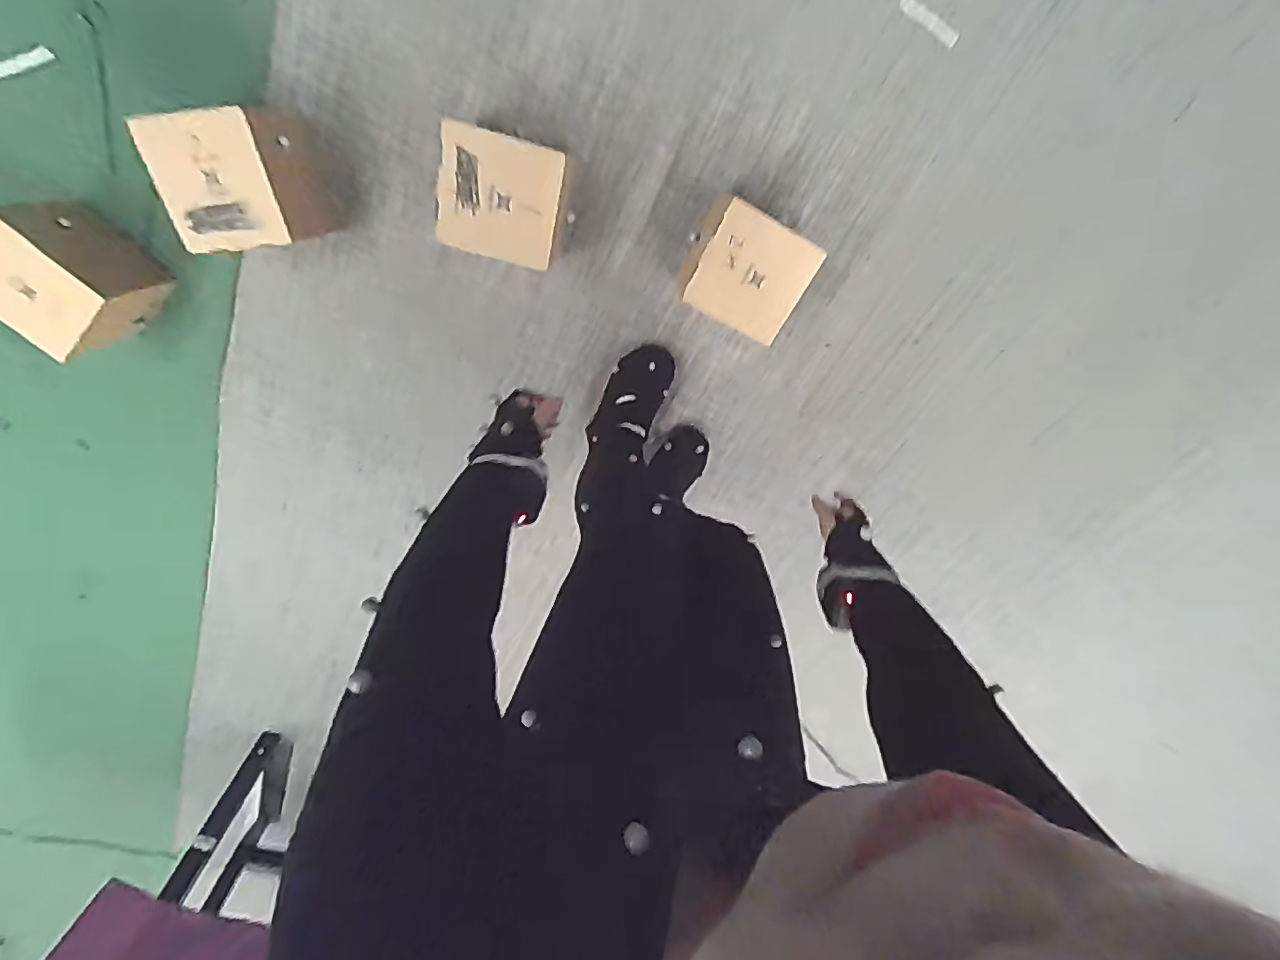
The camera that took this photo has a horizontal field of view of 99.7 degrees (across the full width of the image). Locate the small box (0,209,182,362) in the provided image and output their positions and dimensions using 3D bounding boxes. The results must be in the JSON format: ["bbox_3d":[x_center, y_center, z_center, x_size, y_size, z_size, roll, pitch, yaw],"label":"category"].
[{"bbox_3d":[-0.964,-0.338,0.929,0.168,0.176,0.179,-35,114,18],"label":"small box"}]

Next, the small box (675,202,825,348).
[{"bbox_3d":[0.176,-0.357,0.926,0.179,0.176,0.168,24,116,-14],"label":"small box"}]

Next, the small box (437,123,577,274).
[{"bbox_3d":[-0.208,-0.448,0.870,0.179,0.176,0.168,12,119,-8],"label":"small box"}]
